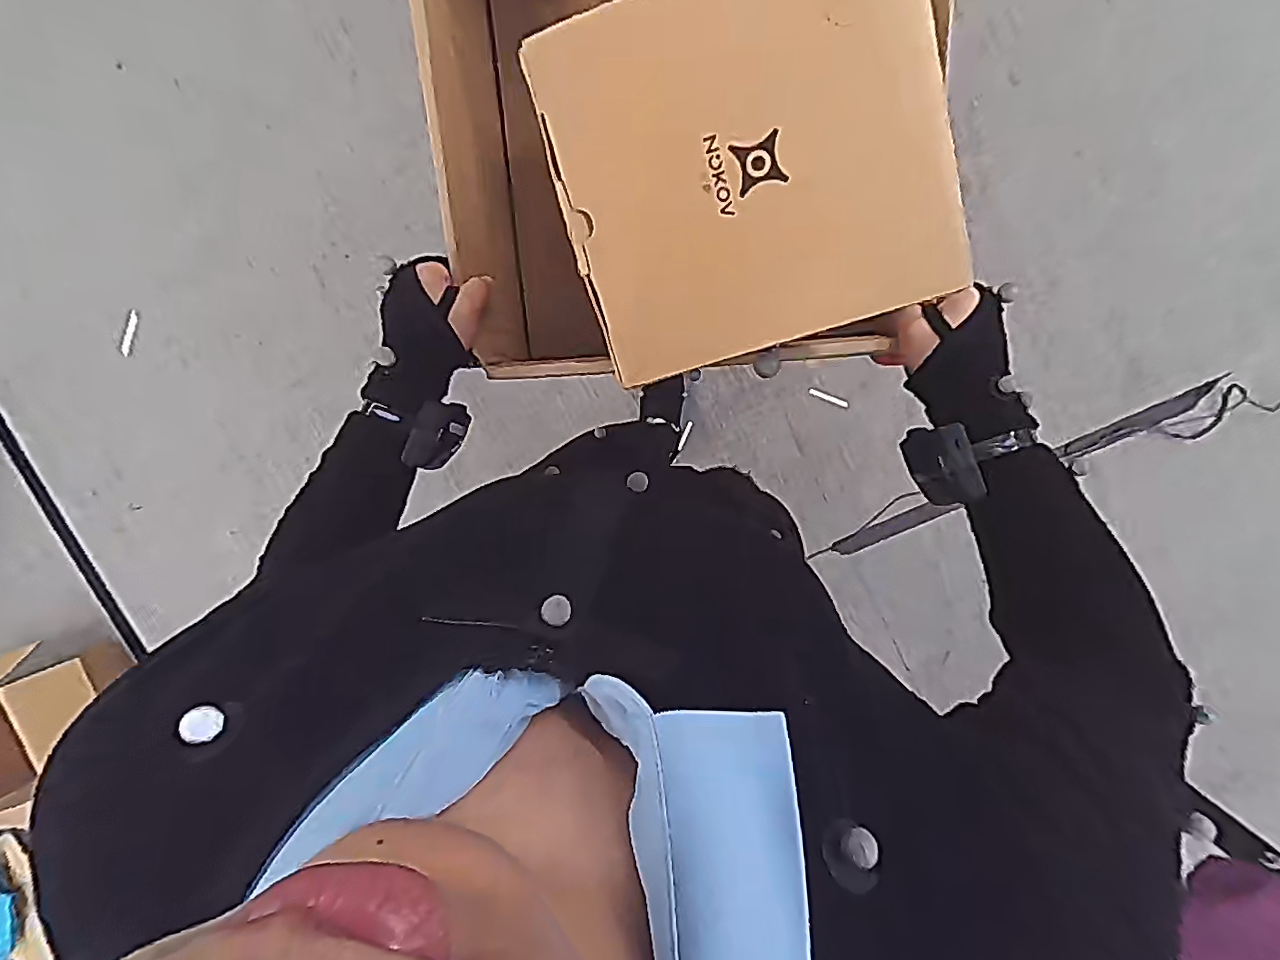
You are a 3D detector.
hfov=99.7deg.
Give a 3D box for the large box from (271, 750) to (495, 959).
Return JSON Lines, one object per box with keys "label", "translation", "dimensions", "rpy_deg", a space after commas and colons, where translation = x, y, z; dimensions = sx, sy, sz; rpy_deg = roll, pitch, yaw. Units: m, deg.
{"label": "large box", "translation": [-0.691, 1.060, 1.513], "dimensions": [0.408, 0.320, 0.320], "rpy_deg": [36, 100, -2]}
